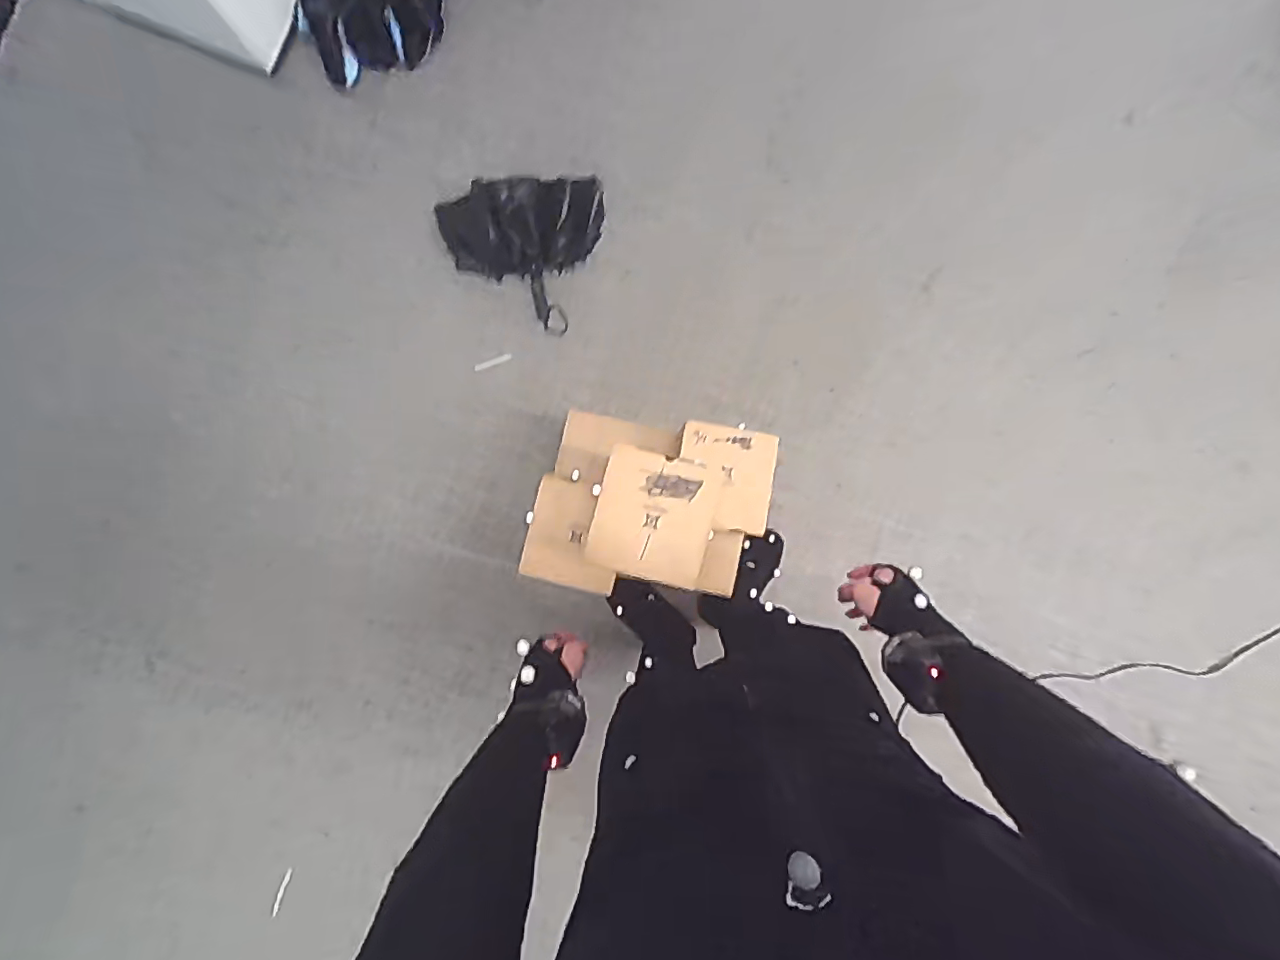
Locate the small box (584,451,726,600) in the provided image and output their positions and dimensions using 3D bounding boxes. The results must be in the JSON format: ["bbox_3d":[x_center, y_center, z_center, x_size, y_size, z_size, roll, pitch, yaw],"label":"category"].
[{"bbox_3d":[0.021,0.065,0.836,0.168,0.176,0.179,15,89,1],"label":"small box"}]

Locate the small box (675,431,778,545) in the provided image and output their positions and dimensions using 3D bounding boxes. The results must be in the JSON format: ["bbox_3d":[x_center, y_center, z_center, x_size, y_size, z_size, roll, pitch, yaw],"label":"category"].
[{"bbox_3d":[0.144,0.017,1.005,0.168,0.176,0.179,9,87,0],"label":"small box"}]
